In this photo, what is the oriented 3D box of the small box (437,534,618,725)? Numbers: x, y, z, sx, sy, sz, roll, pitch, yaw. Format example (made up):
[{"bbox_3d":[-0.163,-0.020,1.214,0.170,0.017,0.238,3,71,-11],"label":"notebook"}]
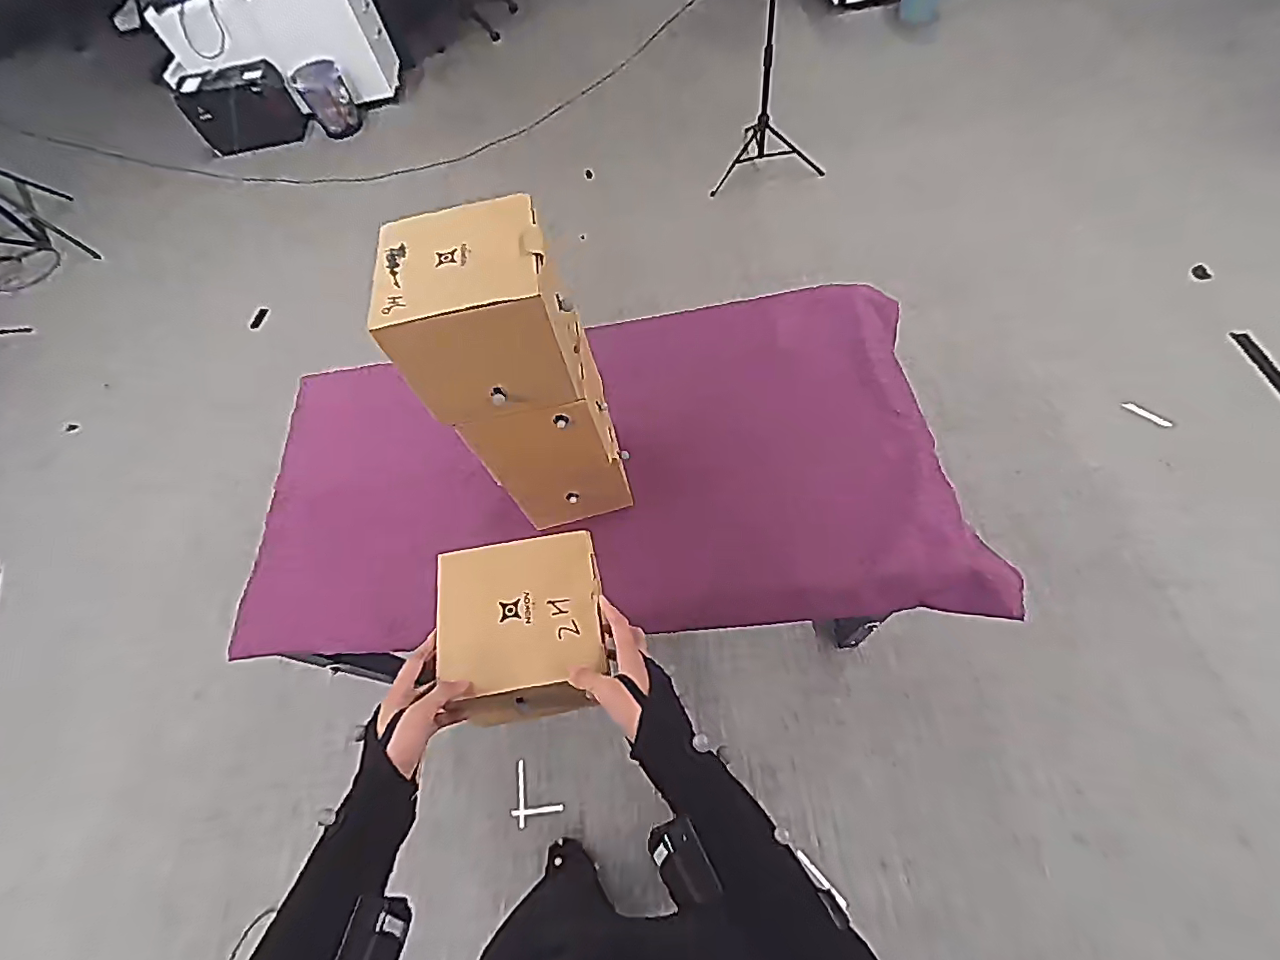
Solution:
[{"bbox_3d":[-0.126,0.185,0.650,0.179,0.176,0.168,-8,59,-4],"label":"small box"}]

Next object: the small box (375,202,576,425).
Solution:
[{"bbox_3d":[-0.175,-0.185,0.631,0.179,0.176,0.168,-10,60,2],"label":"small box"}]

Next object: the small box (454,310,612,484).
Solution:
[{"bbox_3d":[-0.146,-0.110,0.774,0.179,0.176,0.168,-10,61,2],"label":"small box"}]
